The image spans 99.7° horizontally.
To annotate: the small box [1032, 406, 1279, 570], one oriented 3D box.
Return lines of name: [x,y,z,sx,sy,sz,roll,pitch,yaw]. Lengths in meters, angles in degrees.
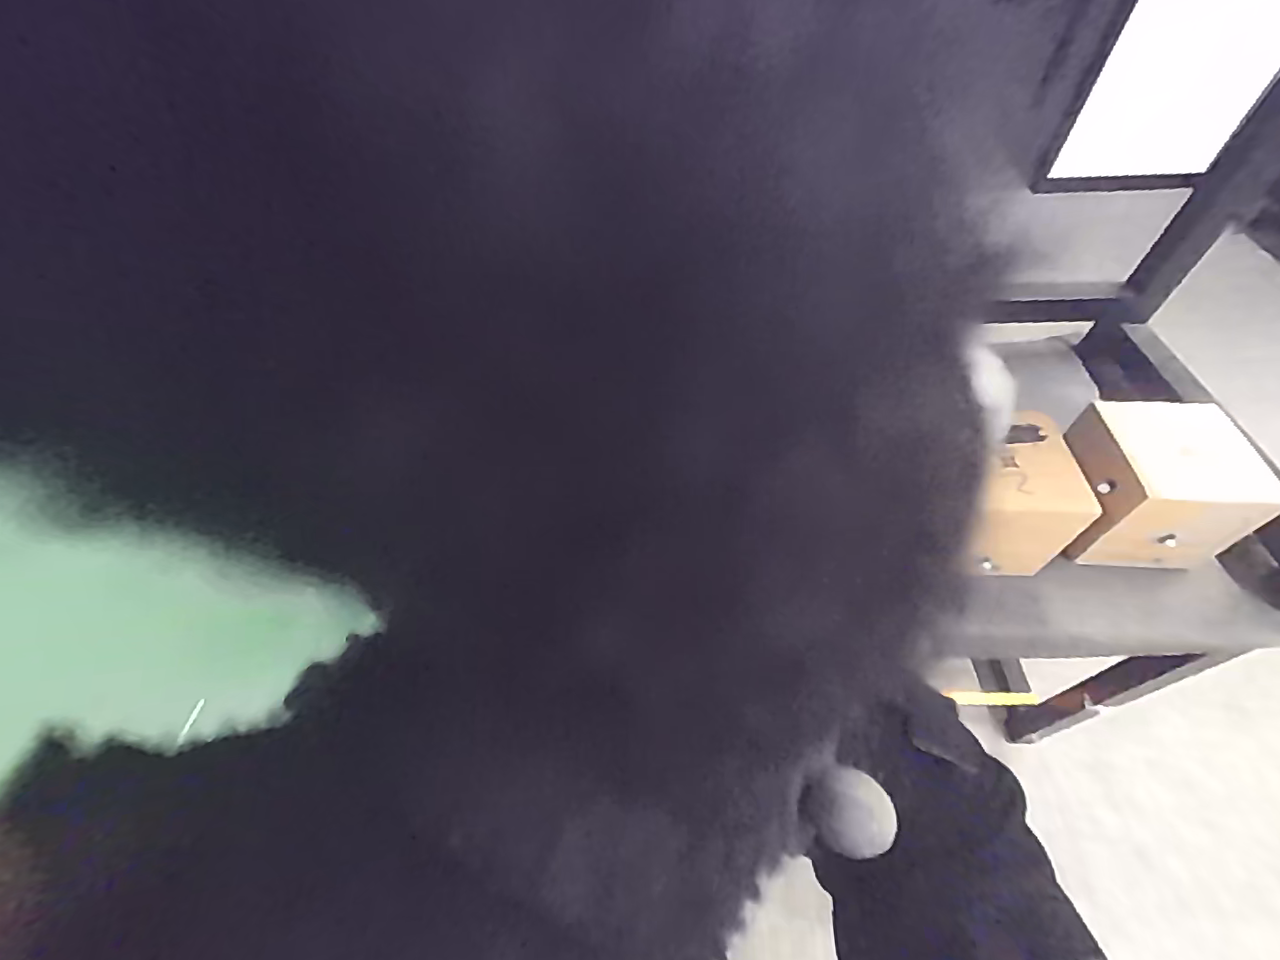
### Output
small box: [0.715,0.014,0.776,0.168,0.176,0.179,2,51,5]
